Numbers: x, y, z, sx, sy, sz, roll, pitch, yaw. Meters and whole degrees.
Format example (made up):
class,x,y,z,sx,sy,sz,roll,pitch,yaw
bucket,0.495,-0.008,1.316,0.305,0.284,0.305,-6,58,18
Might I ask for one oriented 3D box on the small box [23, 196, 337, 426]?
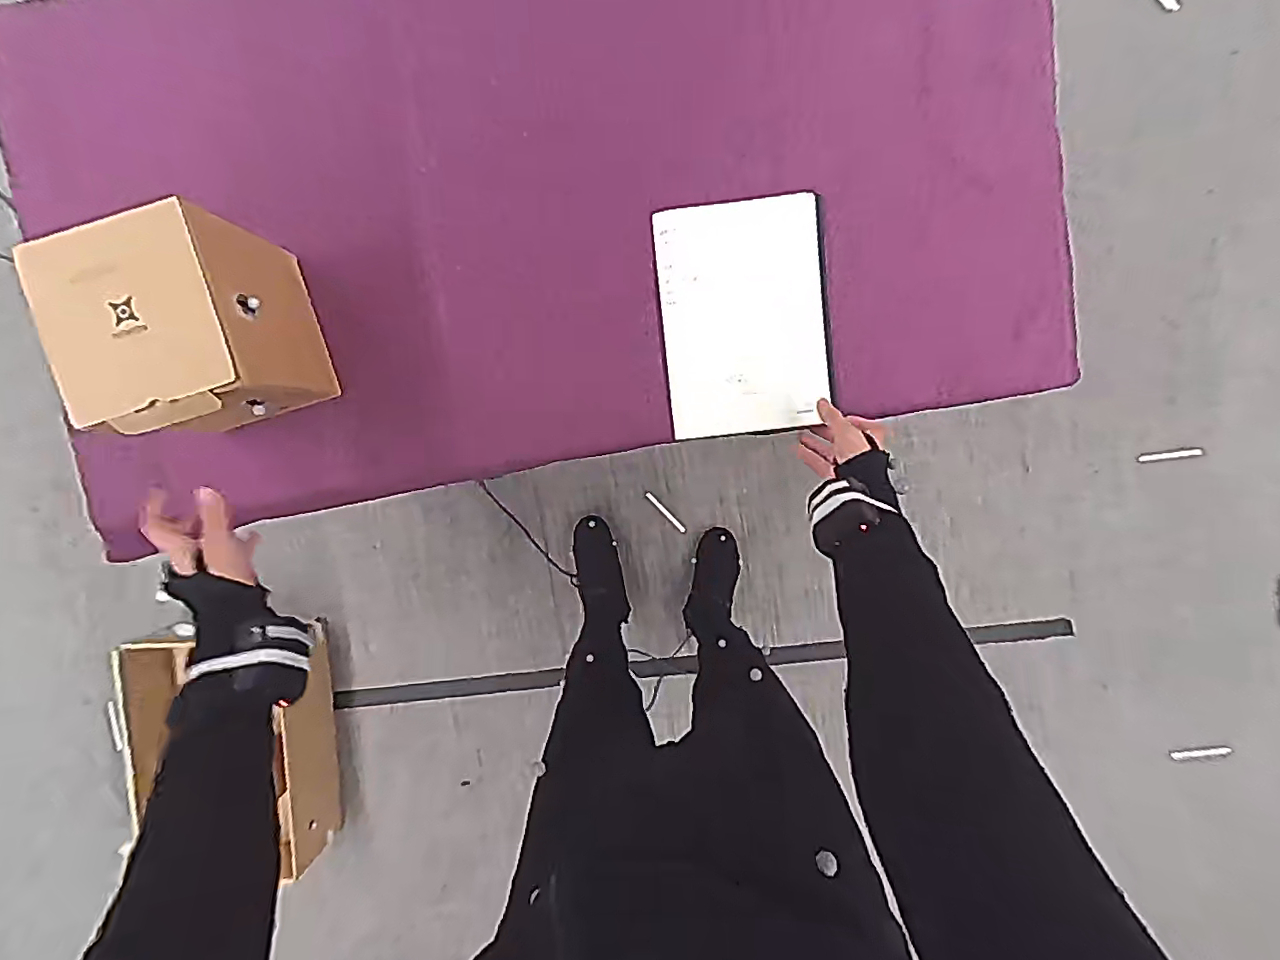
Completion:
class,x,y,z,sx,sy,sz,roll,pitch,yaw
small box,-0.463,-0.162,0.577,0.168,0.176,0.179,-15,94,2
